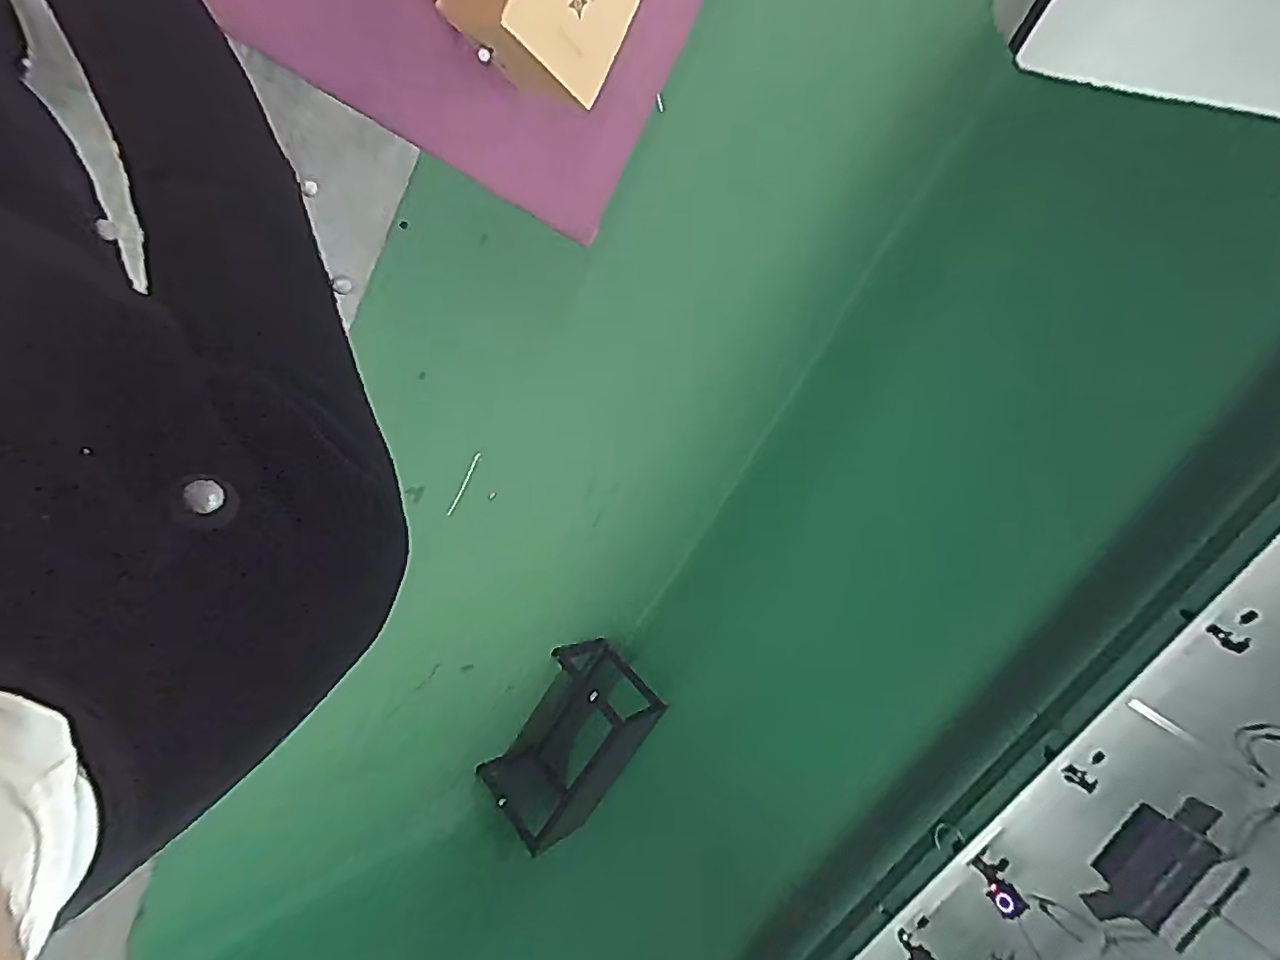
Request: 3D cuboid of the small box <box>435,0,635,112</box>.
[{"bbox_3d":[-0.139,-0.639,0.715,0.168,0.176,0.179,9,115,-56],"label":"small box"}]
